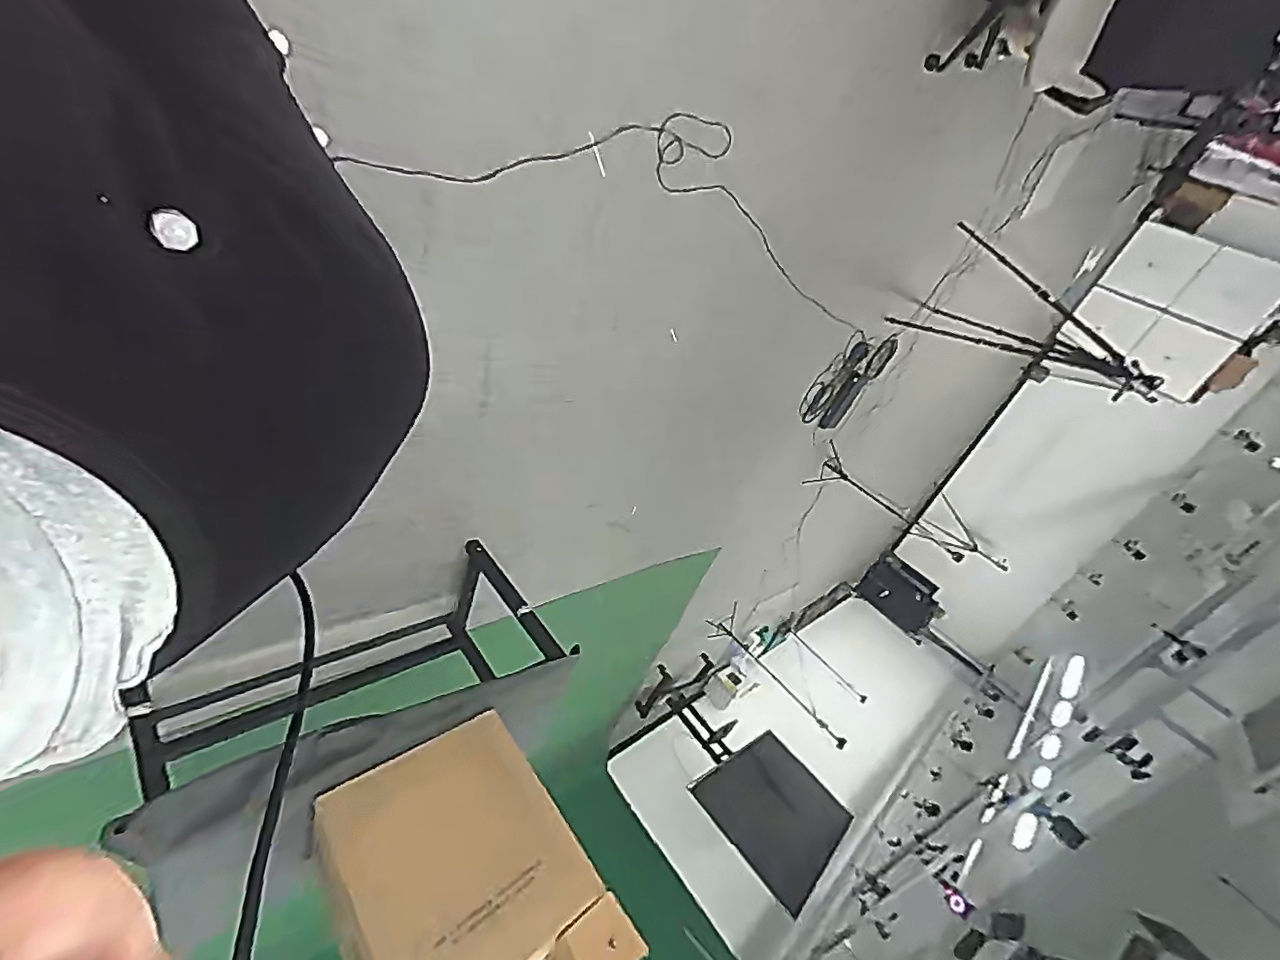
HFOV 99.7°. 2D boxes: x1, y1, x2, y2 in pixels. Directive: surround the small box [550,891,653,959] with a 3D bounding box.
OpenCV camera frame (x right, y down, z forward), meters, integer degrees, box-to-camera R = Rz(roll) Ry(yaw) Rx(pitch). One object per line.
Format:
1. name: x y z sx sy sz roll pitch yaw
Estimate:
1. small box: -0.104 1.242 1.422 0.179 0.176 0.168 -10 132 -49
